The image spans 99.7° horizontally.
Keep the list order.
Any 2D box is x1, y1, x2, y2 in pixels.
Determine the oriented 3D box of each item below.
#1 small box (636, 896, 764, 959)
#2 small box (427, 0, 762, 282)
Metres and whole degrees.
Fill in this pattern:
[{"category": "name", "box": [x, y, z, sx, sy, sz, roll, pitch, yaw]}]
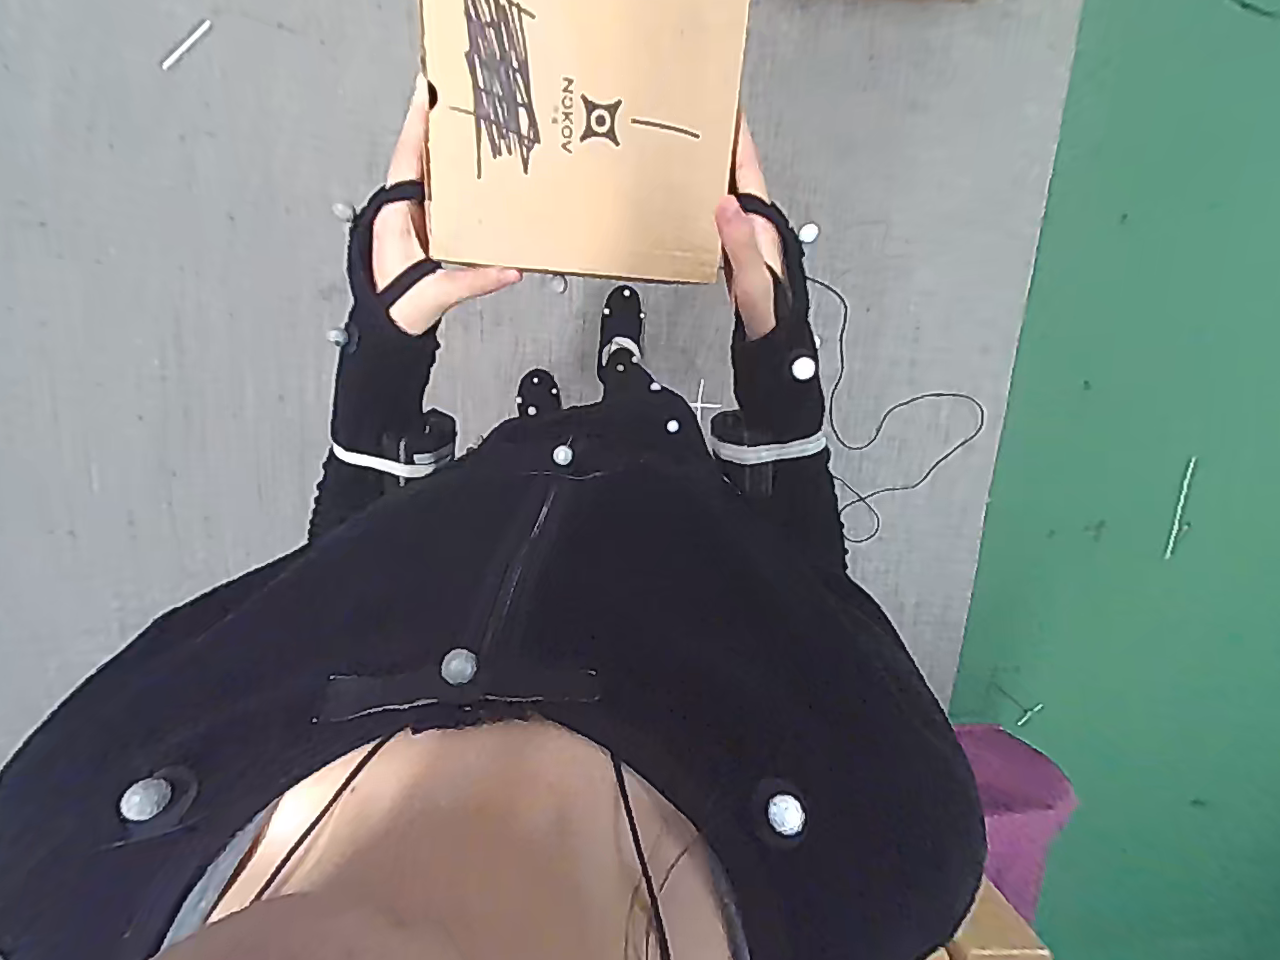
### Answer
[{"category": "small box", "box": [0.103, 0.818, 0.877, 0.179, 0.176, 0.168, 8, 99, -13]}, {"category": "small box", "box": [-0.037, -0.232, 0.372, 0.179, 0.176, 0.168, 2, 109, -11]}]
